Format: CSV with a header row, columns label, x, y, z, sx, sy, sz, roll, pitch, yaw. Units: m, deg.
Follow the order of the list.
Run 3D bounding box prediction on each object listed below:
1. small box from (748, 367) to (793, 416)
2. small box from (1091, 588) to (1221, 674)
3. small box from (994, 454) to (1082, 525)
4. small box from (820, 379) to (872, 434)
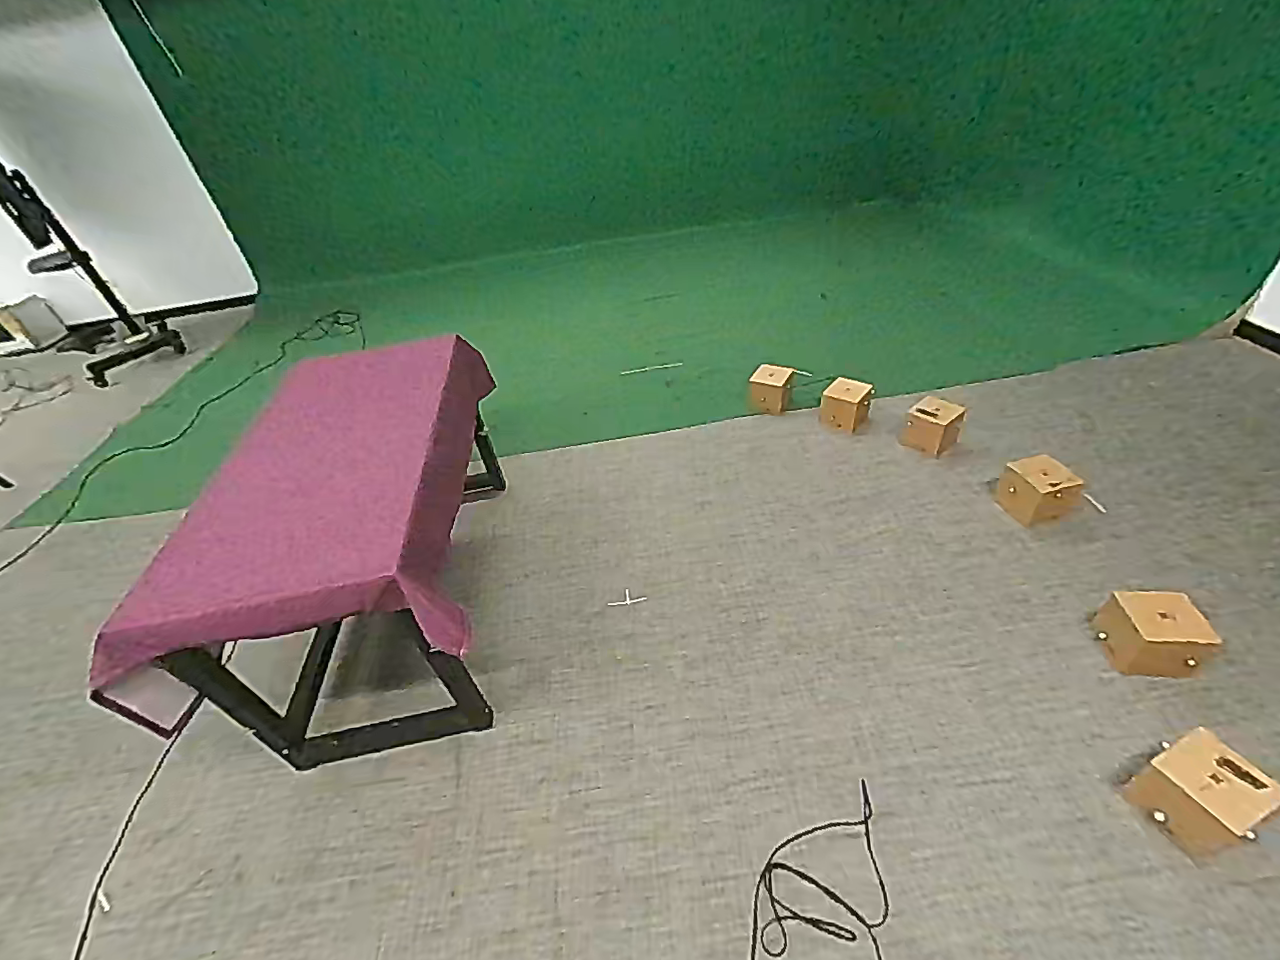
label,x,y,z,sx,sy,sz,roll,pitch,yaw
small box,0.650,-0.440,2.690,0.168,0.176,0.179,17,45,28
small box,1.413,0.420,1.498,0.179,0.176,0.168,-1,40,10
small box,1.429,0.036,1.958,0.168,0.176,0.179,-14,39,-5
small box,0.953,-0.343,2.516,0.168,0.176,0.179,24,50,34
